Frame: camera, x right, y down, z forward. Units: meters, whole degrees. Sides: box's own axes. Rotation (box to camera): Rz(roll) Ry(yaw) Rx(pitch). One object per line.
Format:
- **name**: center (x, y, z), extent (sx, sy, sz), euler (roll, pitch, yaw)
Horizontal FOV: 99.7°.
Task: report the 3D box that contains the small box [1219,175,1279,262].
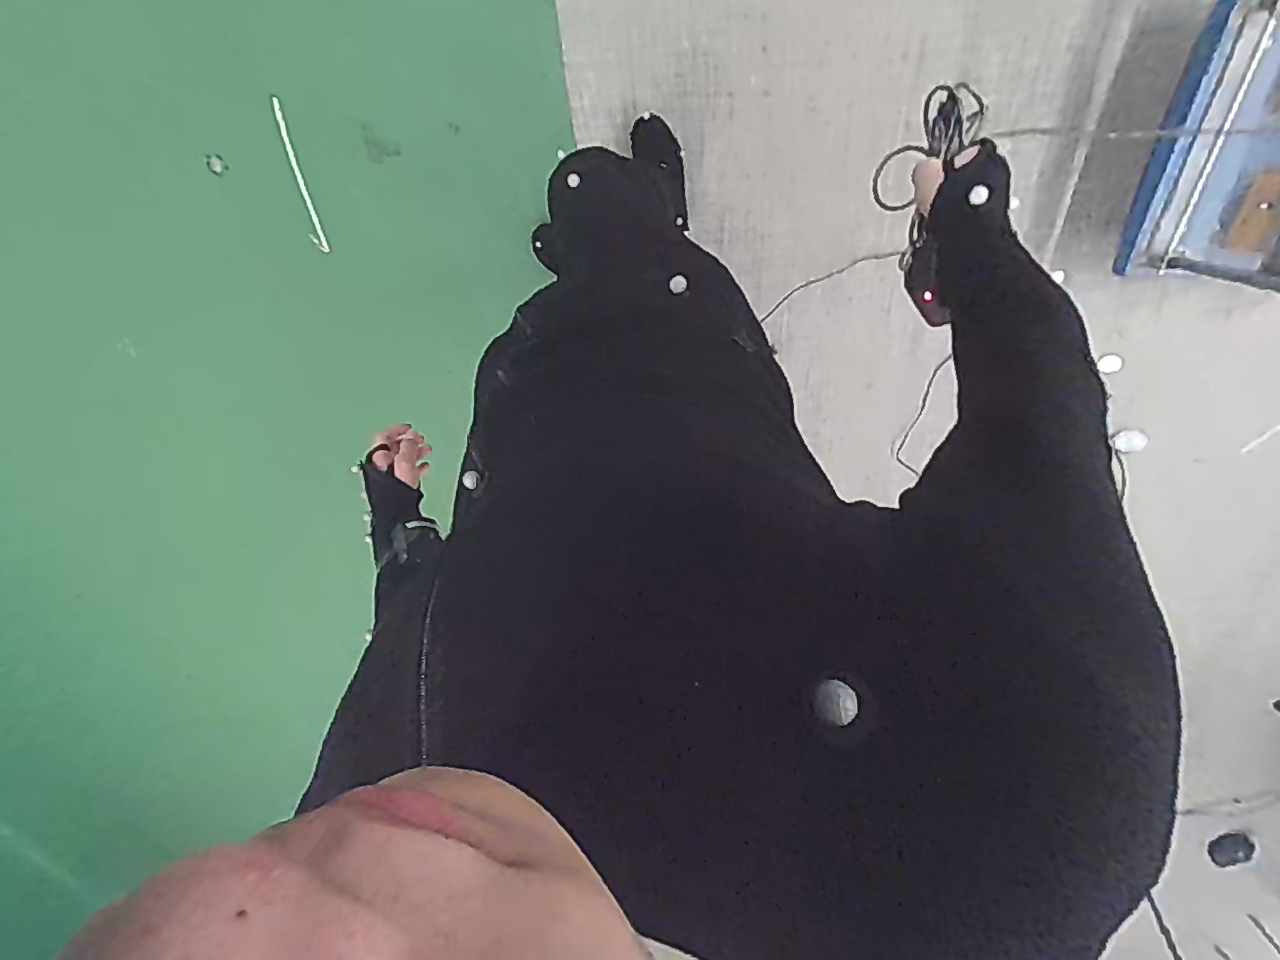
- **small box**: center (1.501, -0.591, 1.217), extent (0.179, 0.176, 0.168), euler (-1, 121, -2)
